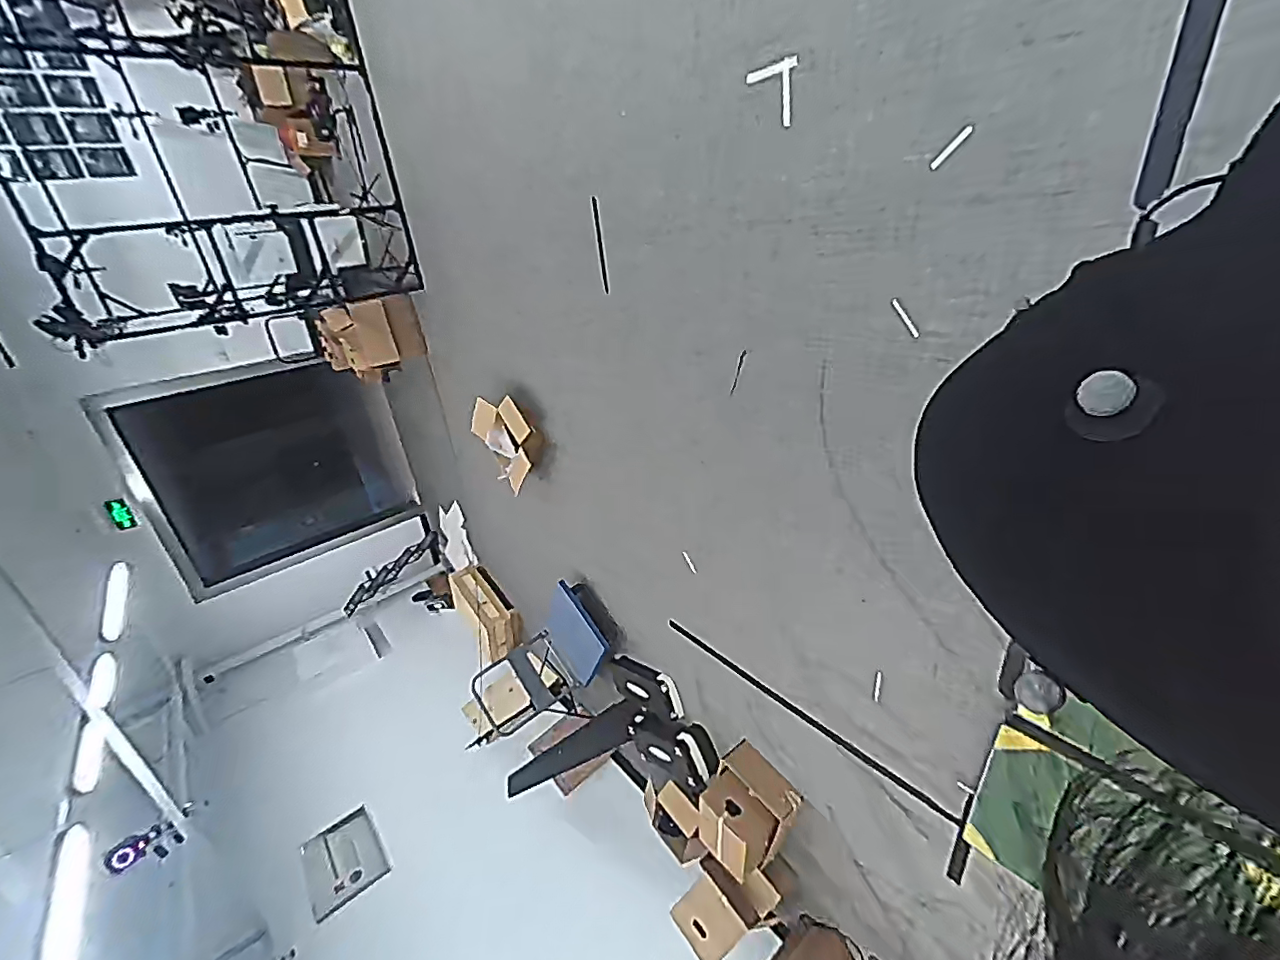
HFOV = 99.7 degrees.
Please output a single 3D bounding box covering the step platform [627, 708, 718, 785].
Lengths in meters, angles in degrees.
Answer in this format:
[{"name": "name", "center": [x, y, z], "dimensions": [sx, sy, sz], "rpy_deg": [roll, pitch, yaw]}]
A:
[{"name": "step platform", "center": [0.184, 1.684, 3.441], "dimensions": [0.684, 0.204, 0.286], "rpy_deg": [-20, 94, 56]}]
